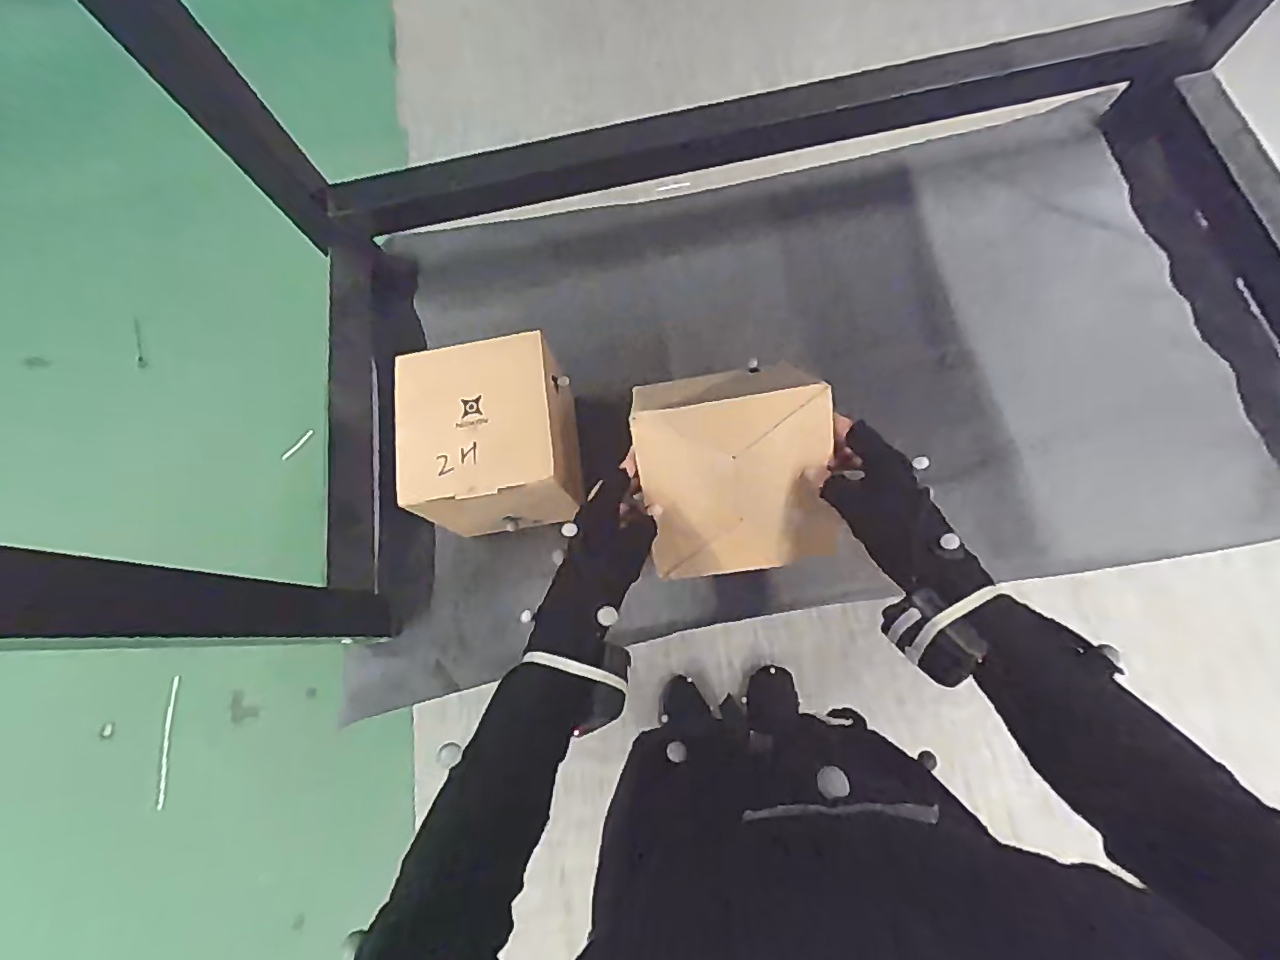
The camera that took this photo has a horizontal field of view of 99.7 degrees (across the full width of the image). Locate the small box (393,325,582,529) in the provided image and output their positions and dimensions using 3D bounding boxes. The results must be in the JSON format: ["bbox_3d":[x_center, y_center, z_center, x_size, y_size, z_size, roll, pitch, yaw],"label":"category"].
[{"bbox_3d":[-0.171,-0.053,0.642,0.168,0.176,0.179,-10,72,4],"label":"small box"}]

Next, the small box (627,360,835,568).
[{"bbox_3d":[0.084,-0.024,0.564,0.179,0.176,0.168,-9,107,4],"label":"small box"}]
